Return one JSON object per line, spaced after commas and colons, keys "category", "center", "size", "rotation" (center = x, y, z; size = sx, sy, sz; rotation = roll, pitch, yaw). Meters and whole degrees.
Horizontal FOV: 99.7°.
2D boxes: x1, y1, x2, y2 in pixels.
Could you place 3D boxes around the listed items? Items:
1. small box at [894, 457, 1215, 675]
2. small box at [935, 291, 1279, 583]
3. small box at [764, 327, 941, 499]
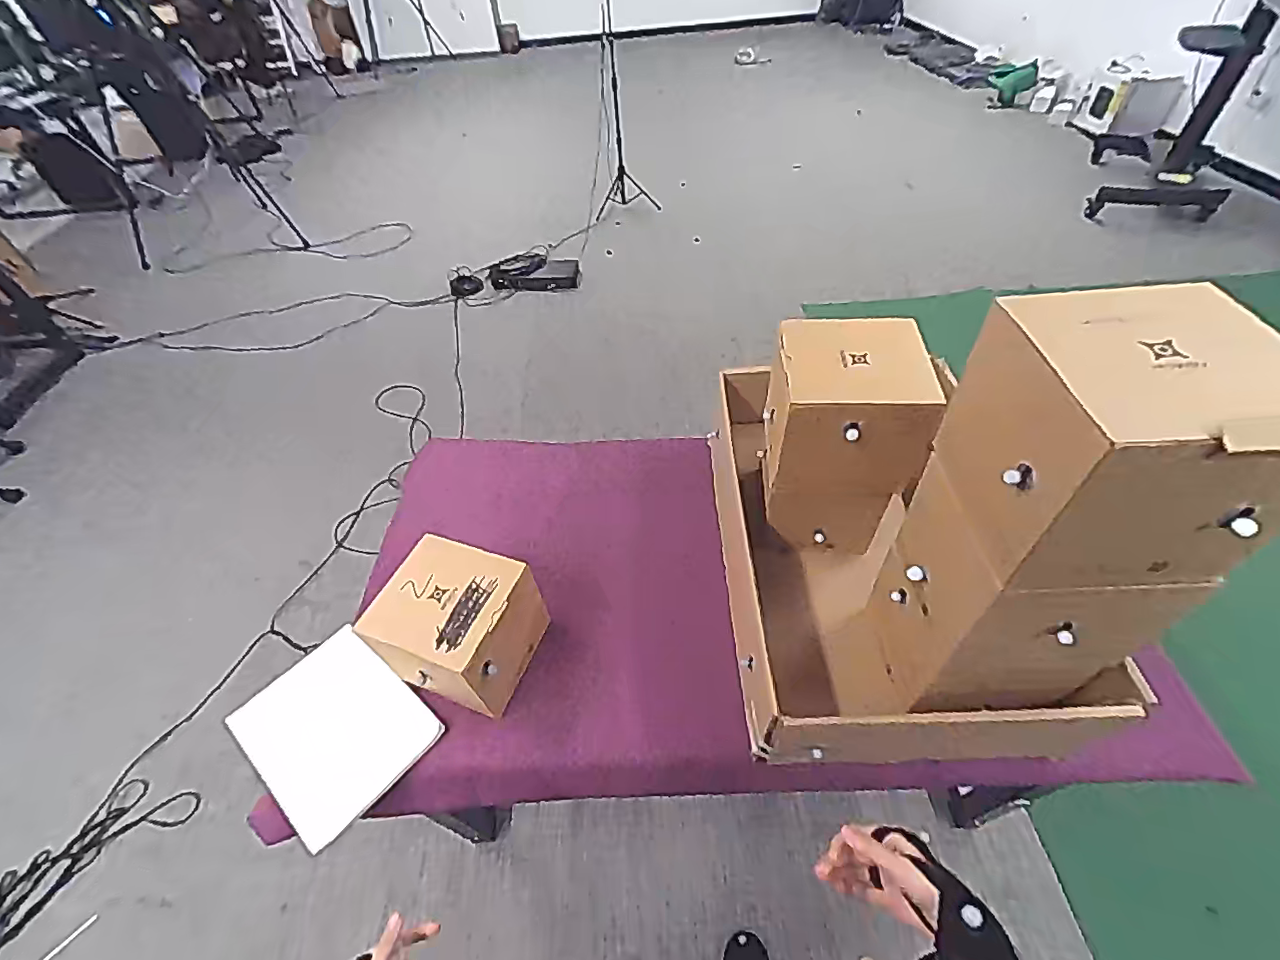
{"category": "small box", "center": [0.389, 0.087, 0.553], "size": [0.179, 0.176, 0.168], "rotation": [-3, 47, 5]}
{"category": "small box", "center": [0.372, -0.028, 0.439], "size": [0.168, 0.176, 0.179], "rotation": [-2, 47, 5]}
{"category": "small box", "center": [0.268, -0.087, 0.729], "size": [0.179, 0.176, 0.168], "rotation": [1, 50, 7]}
